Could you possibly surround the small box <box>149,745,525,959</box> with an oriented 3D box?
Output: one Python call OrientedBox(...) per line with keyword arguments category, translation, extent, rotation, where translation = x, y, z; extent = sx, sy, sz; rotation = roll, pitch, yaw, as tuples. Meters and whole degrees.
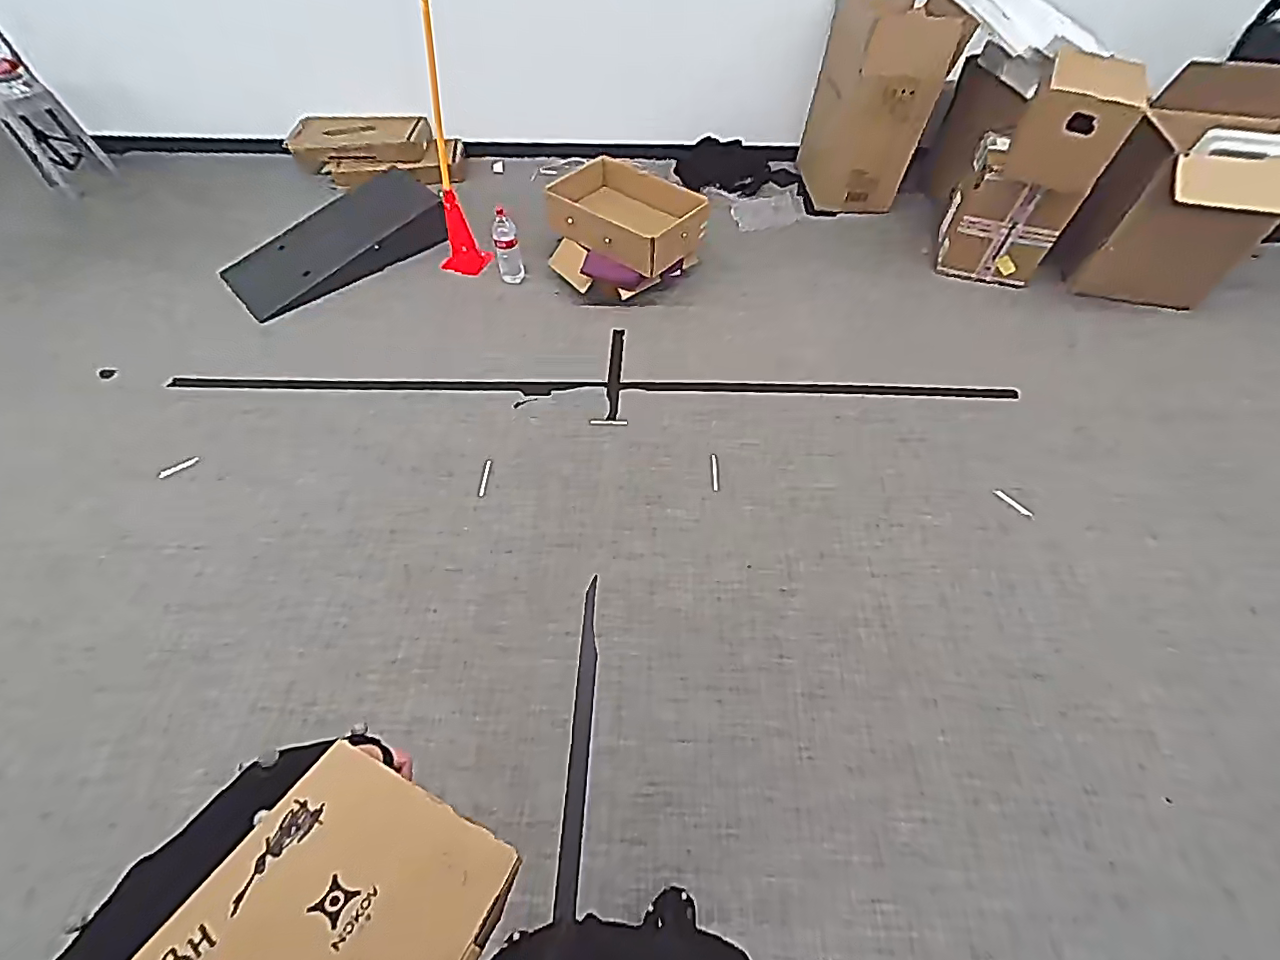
OrientedBox(category="small box", translation=(-0.214, 0.351, 0.413), extent=(0.179, 0.176, 0.168), rotation=(26, 38, 9))
